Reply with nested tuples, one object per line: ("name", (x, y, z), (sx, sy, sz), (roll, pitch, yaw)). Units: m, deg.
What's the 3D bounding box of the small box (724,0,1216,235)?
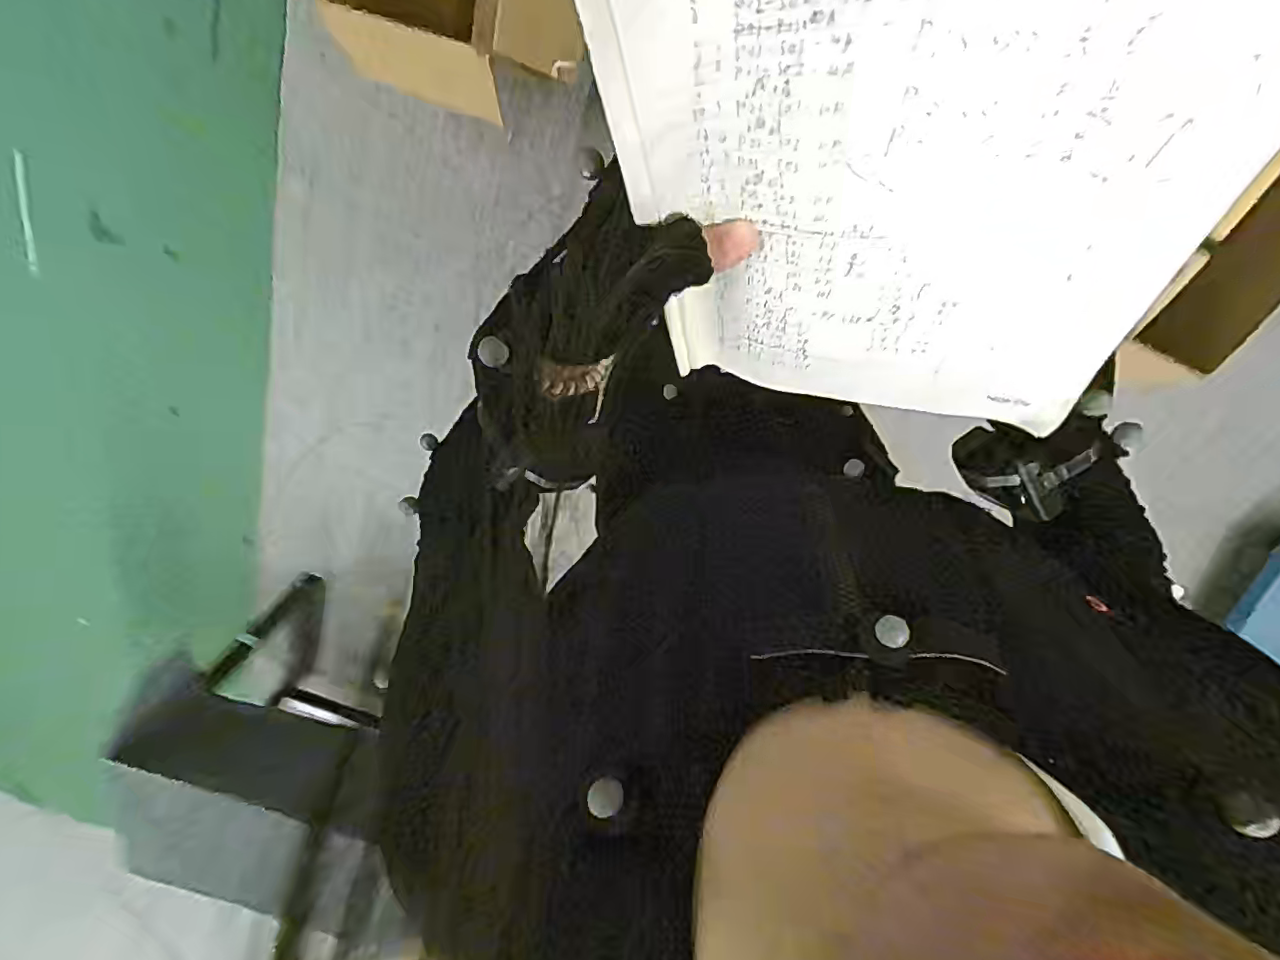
("small box", (0.139, -0.240, 0.265), (0.168, 0.176, 0.179), (7, 126, -1))
